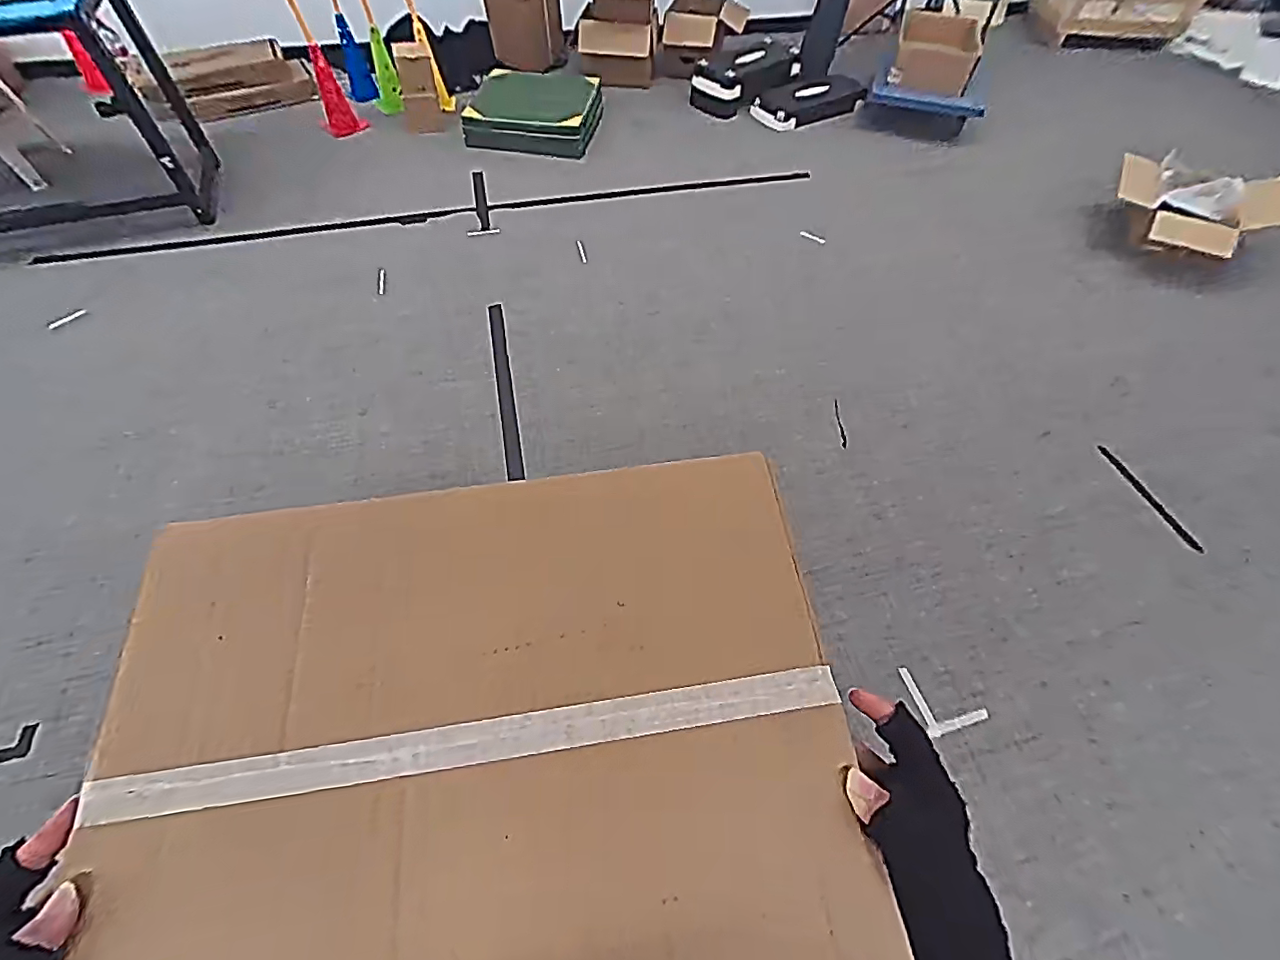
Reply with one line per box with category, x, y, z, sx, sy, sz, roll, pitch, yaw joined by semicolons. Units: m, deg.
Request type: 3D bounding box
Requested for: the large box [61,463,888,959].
large box;-0.093;0.214;0.440;0.408;0.320;0.320;-7;63;-4
